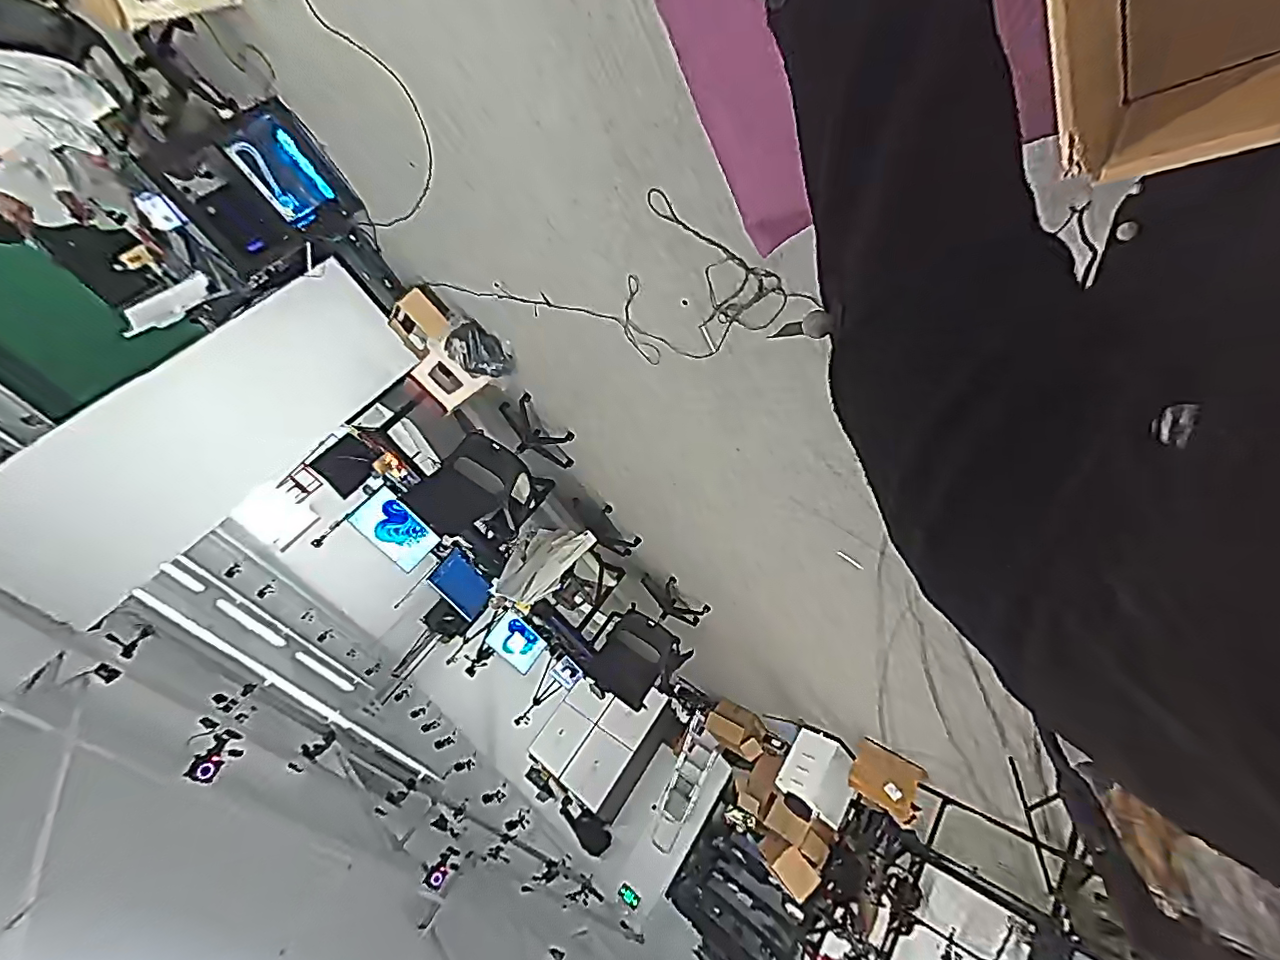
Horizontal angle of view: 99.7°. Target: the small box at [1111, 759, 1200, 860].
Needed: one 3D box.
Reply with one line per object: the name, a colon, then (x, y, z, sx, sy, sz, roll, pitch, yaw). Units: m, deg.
small box: (1.521, 0.966, 1.598, 0.168, 0.176, 0.179, 12, 142, 46)
